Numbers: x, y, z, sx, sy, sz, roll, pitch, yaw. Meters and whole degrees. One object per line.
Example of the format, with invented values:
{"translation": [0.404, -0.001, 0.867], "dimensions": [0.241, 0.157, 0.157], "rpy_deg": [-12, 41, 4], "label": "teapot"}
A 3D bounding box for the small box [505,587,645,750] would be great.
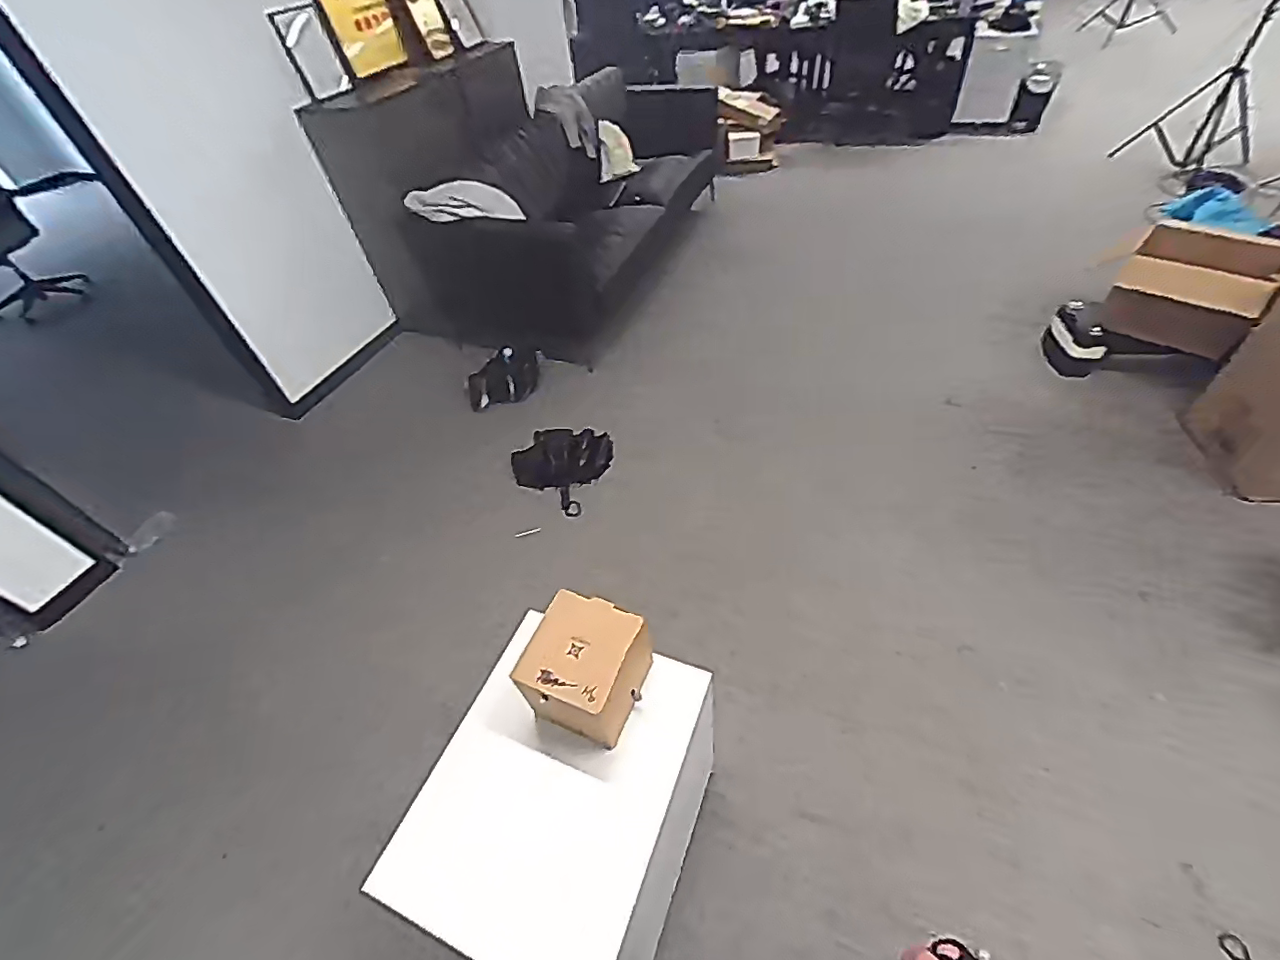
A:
{"translation": [-0.097, 0.317, 0.912], "dimensions": [0.168, 0.176, 0.179], "rpy_deg": [15, 49, 18], "label": "small box"}
